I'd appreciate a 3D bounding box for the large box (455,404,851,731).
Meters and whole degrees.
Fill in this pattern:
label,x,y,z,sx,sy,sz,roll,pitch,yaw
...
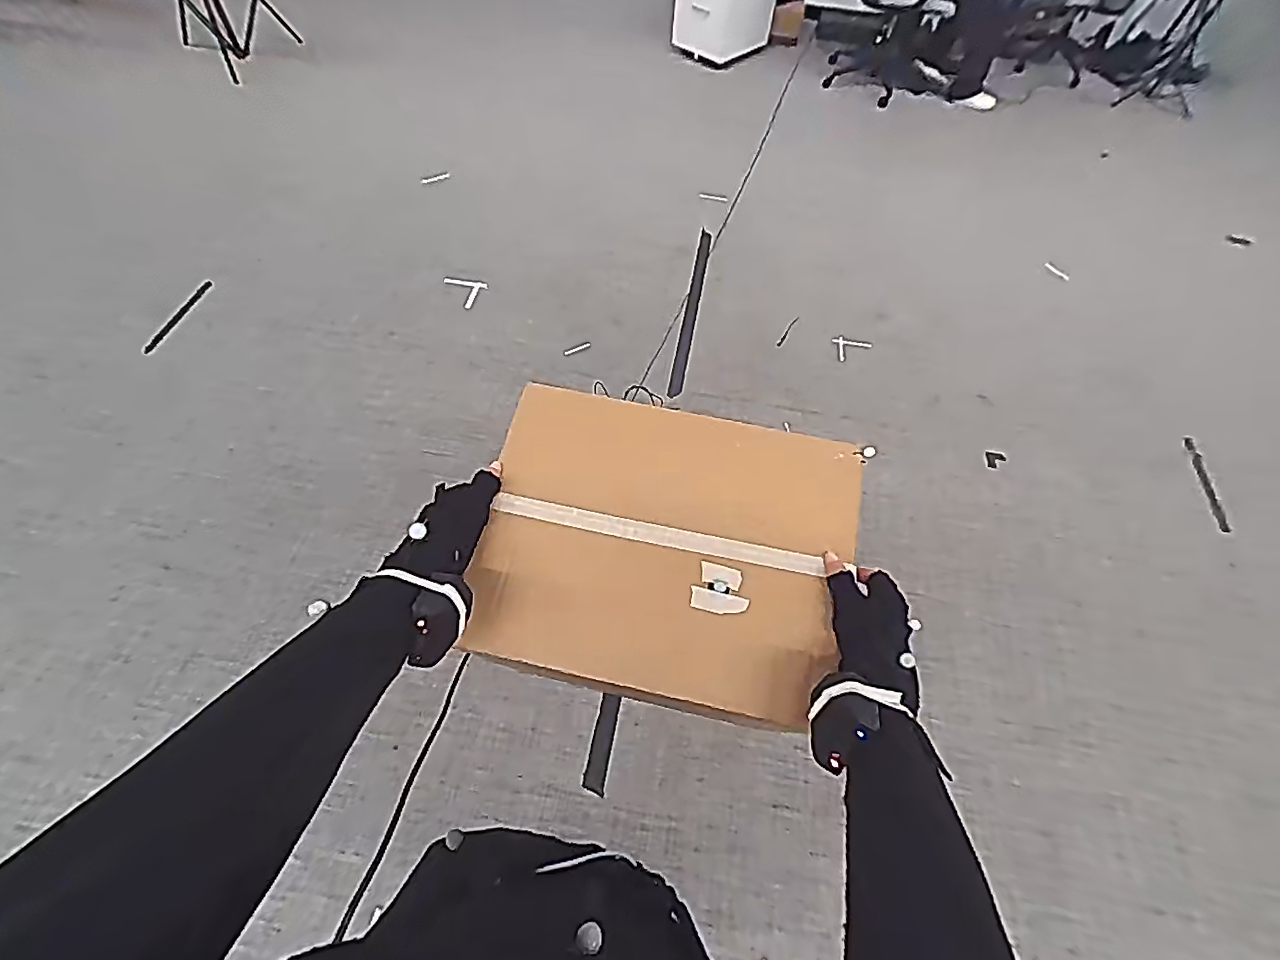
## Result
label,x,y,z,sx,sy,sz,roll,pitch,yaw
large box,0.026,0.135,0.738,0.408,0.320,0.320,12,68,4
